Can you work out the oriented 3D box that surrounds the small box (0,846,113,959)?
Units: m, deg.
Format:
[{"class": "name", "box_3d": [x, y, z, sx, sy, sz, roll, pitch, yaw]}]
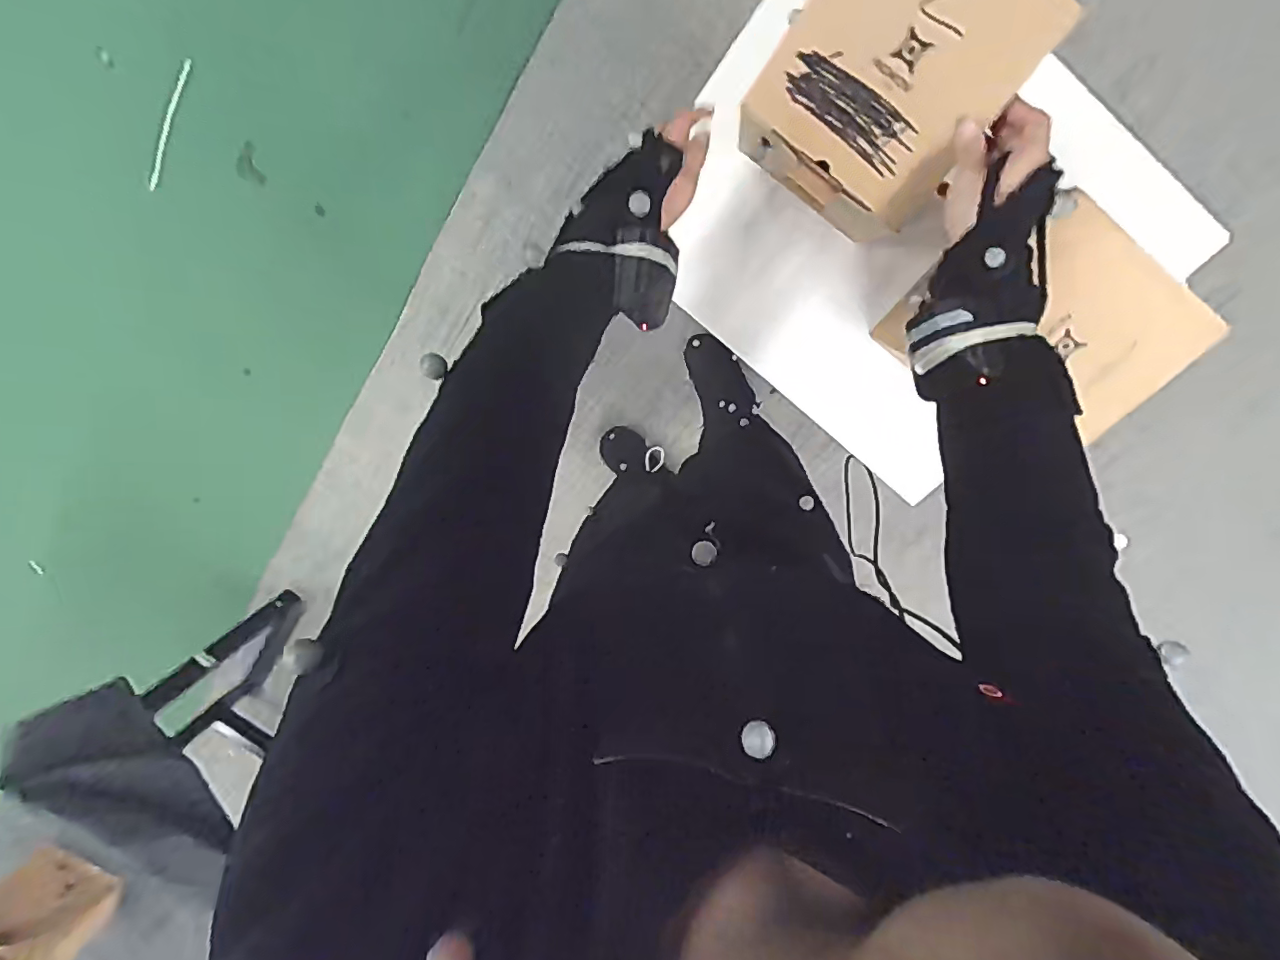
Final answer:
[{"class": "small box", "box_3d": [-1.172, 0.855, 1.034, 0.168, 0.176, 0.179, 33, 113, -4]}]

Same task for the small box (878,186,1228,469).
[{"class": "small box", "box_3d": [0.366, -0.145, 0.524, 0.179, 0.176, 0.168, 37, 114, -6]}]
